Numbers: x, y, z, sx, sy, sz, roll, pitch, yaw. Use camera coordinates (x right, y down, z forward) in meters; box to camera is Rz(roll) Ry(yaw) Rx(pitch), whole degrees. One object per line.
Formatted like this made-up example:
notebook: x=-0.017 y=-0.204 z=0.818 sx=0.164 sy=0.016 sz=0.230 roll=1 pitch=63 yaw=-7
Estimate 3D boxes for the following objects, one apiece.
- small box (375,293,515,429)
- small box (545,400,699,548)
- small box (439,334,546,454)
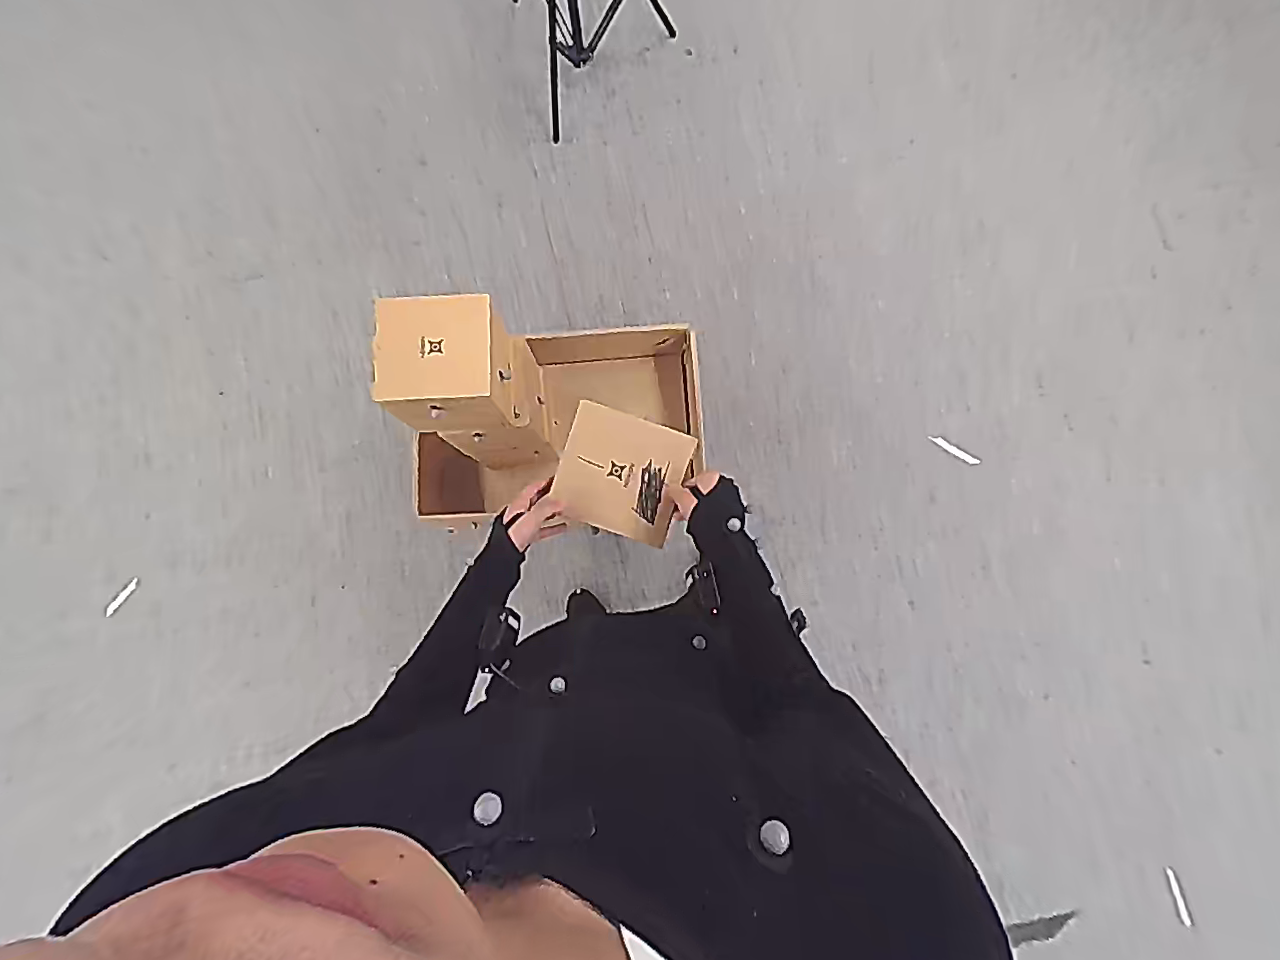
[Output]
small box: x=-0.305 y=-0.185 z=0.881 sx=0.179 sy=0.176 sz=0.168 roll=-3 pitch=80 yaw=0
small box: x=-0.030 y=-0.008 z=0.828 sx=0.179 sy=0.176 sz=0.168 roll=19 pitch=87 yaw=-3
small box: x=-0.280 y=-0.159 z=1.042 sx=0.168 sy=0.176 sz=0.179 roll=-6 pitch=80 yaw=-1
